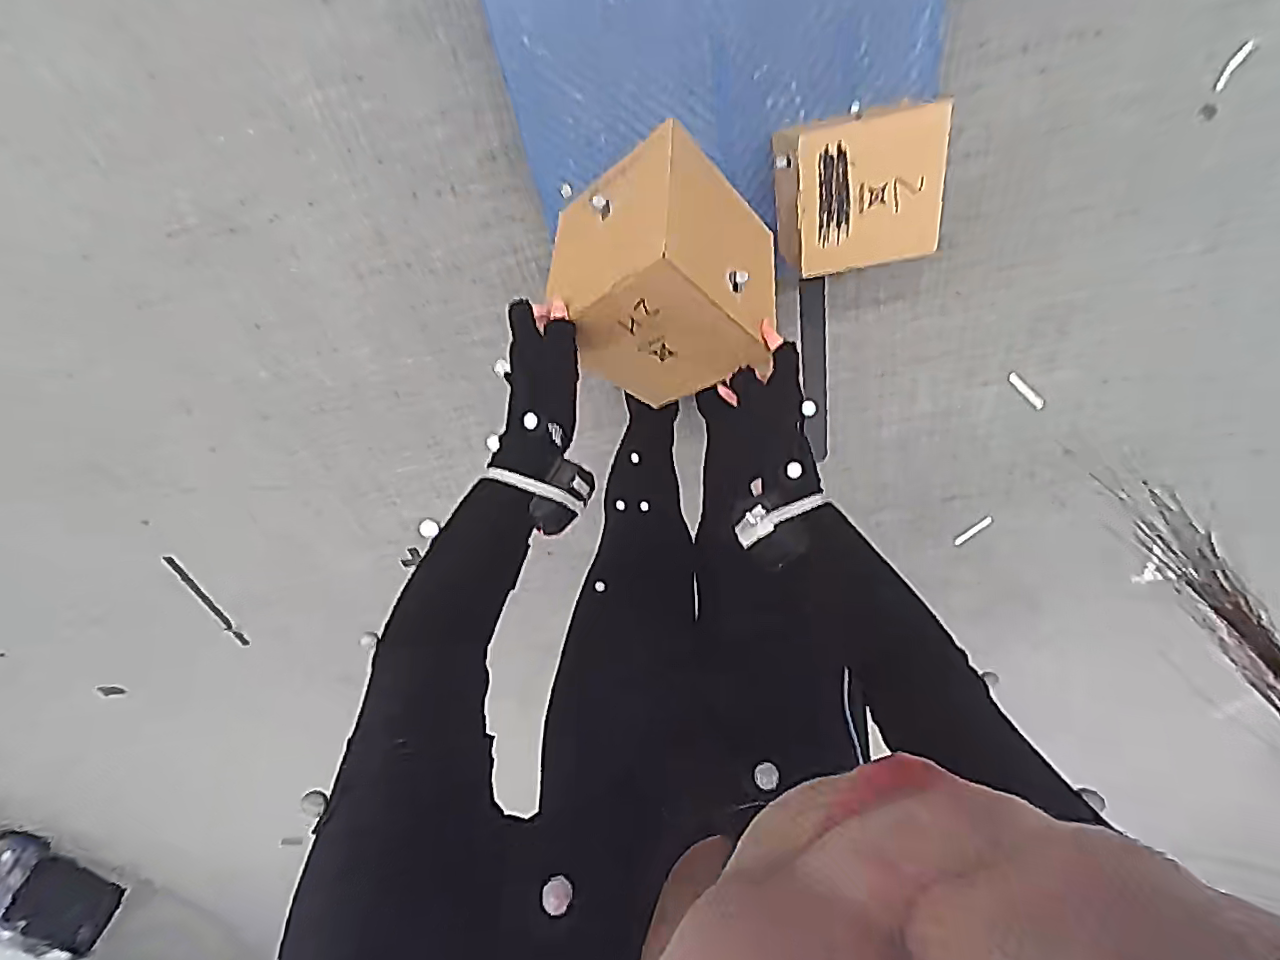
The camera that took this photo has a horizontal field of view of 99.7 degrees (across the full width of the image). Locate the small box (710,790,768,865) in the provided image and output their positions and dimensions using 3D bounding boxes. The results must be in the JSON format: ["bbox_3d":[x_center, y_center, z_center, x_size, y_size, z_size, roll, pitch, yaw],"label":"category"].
[{"bbox_3d":[0.339,1.204,1.876,0.179,0.176,0.168,-10,124,9],"label":"small box"}]

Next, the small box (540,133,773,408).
[{"bbox_3d":[0.023,-0.203,0.562,0.168,0.176,0.179,-17,150,41],"label":"small box"}]
